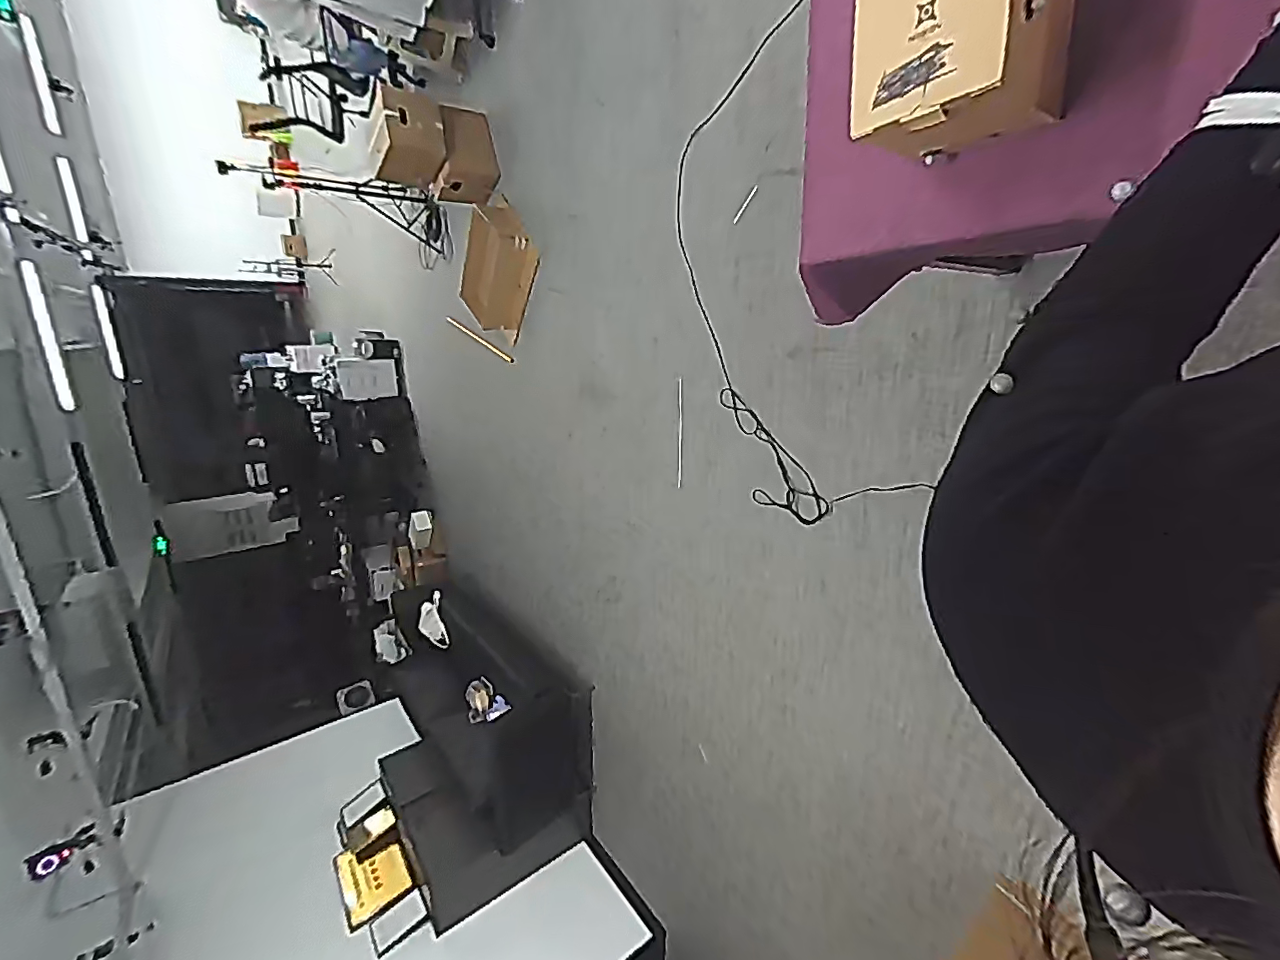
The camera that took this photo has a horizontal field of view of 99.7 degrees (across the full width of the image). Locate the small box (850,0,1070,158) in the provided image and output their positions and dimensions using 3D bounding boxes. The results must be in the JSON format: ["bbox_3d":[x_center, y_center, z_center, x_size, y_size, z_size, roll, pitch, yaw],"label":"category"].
[{"bbox_3d":[0.366,-0.495,0.624,0.168,0.176,0.179,14,110,51],"label":"small box"}]
